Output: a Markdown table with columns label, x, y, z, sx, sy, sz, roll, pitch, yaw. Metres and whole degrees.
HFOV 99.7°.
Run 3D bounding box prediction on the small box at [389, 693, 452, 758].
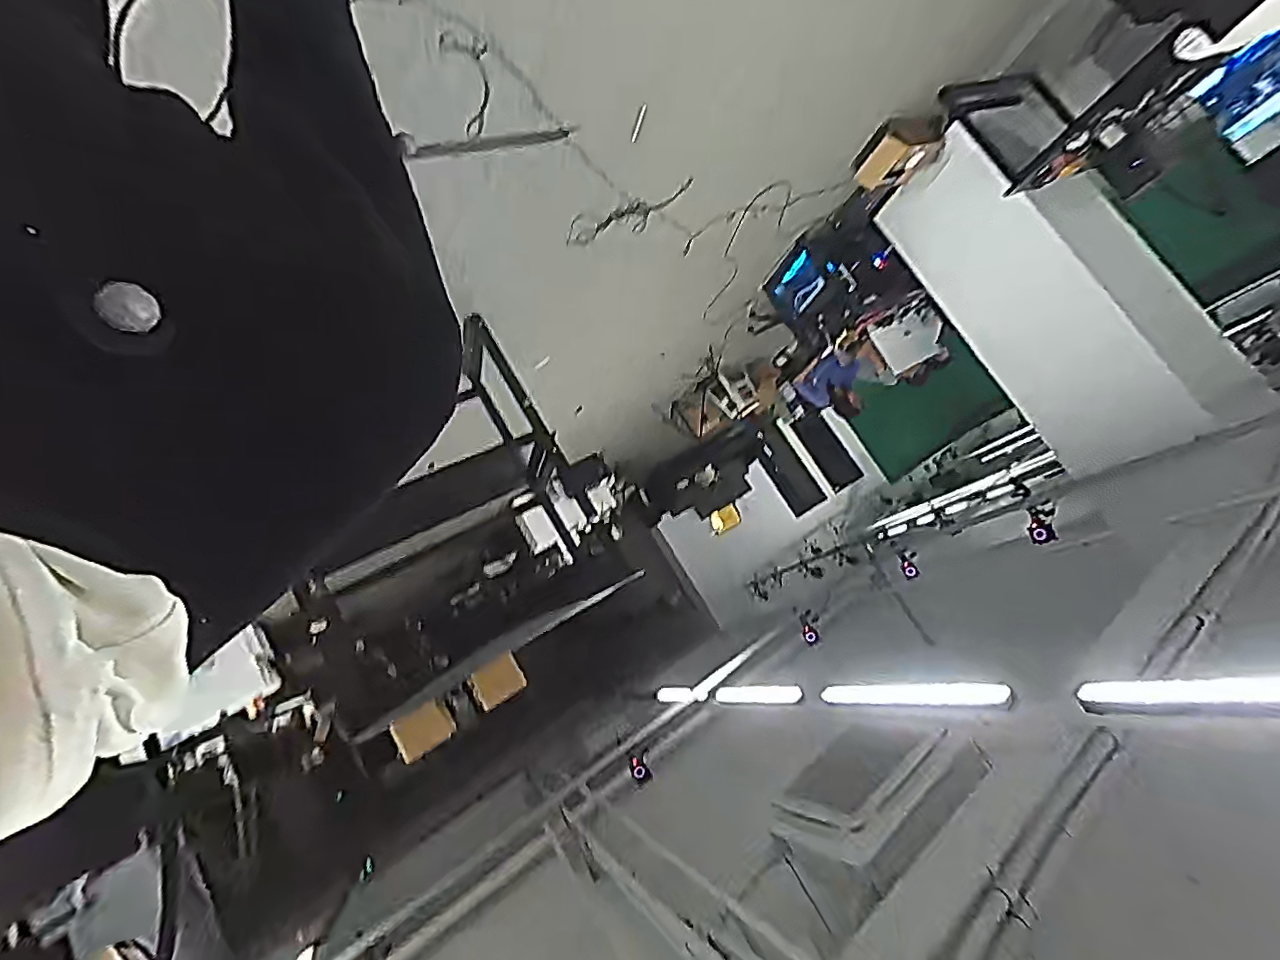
| label | x | y | z | sx | sy | sz | roll | pitch | yaw |
| --- | --- | --- | --- | --- | --- | --- | --- | --- | --- |
| small box | -0.847 | 0.939 | 2.076 | 0.168 | 0.176 | 0.179 | -27 | 170 | -34 |

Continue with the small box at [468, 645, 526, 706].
| label | x | y | z | sx | sy | sz | roll | pitch | yaw |
| --- | --- | --- | --- | --- | --- | --- | --- | --- | --- |
| small box | -0.594 | 0.807 | 2.231 | 0.179 | 0.176 | 0.168 | -28 | 170 | -26 |
